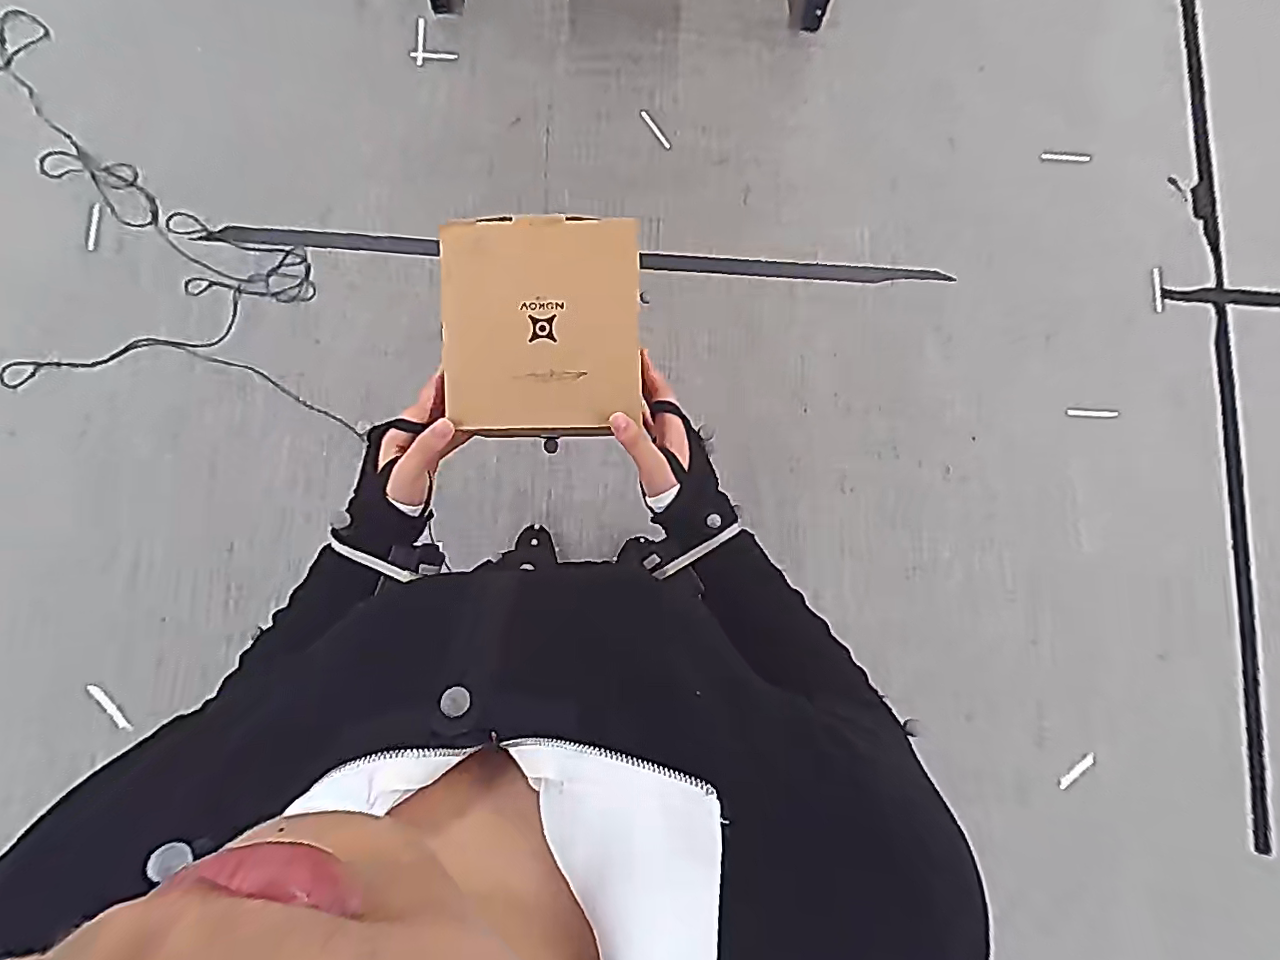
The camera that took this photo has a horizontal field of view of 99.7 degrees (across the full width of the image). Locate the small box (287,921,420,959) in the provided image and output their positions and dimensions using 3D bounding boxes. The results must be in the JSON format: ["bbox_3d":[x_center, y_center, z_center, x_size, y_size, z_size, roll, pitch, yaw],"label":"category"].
[{"bbox_3d":[-0.408,0.743,0.722,0.168,0.176,0.179,3,83,-3],"label":"small box"}]

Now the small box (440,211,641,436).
[{"bbox_3d":[-0.085,-0.137,0.528,0.168,0.176,0.179,-2,92,-1],"label":"small box"}]
